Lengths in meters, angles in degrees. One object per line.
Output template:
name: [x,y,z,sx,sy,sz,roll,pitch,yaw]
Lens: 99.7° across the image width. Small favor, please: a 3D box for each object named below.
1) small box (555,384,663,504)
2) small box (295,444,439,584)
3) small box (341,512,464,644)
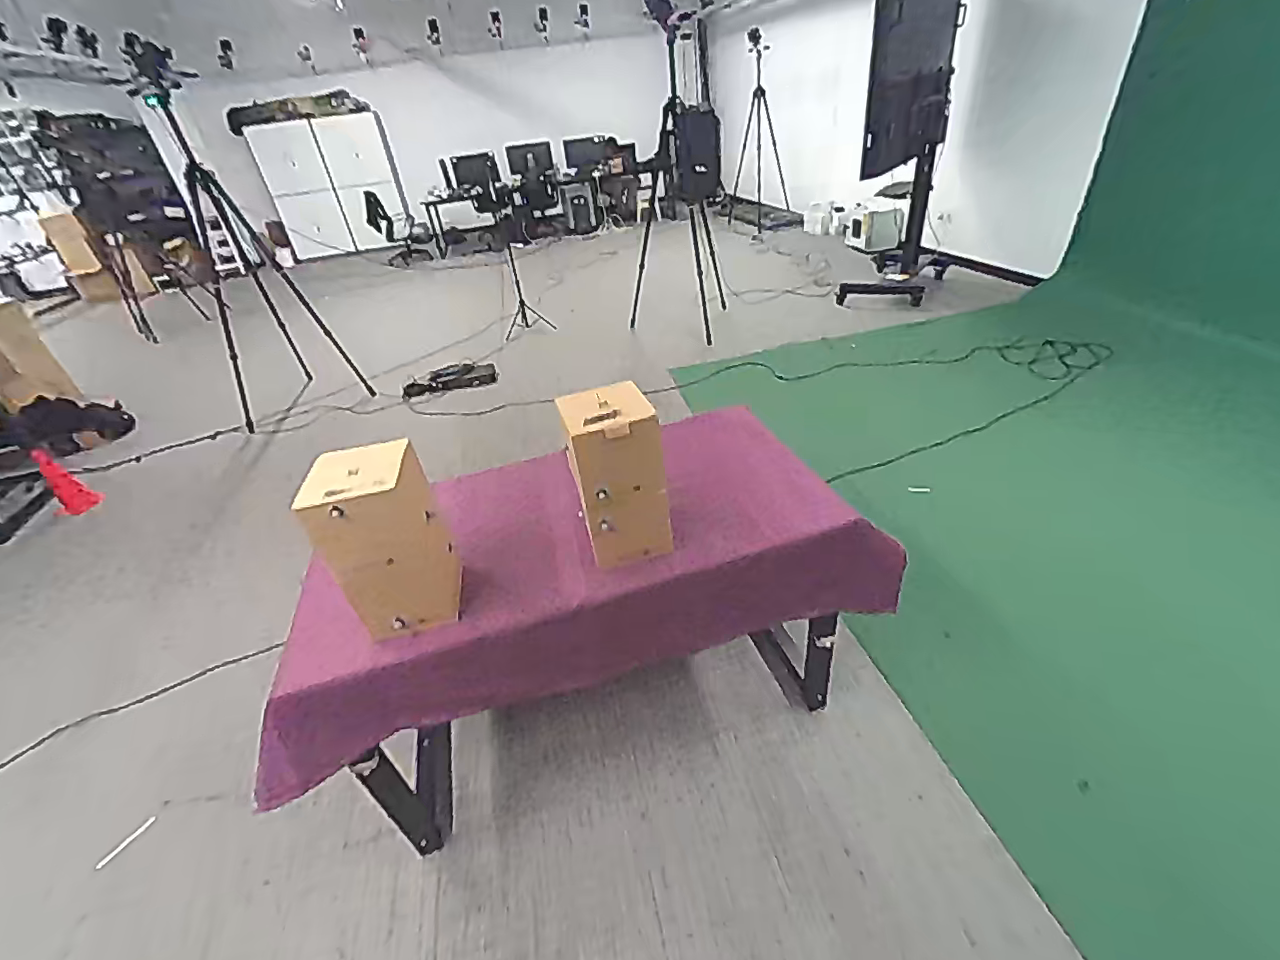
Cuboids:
small box: [-0.060,-0.068,1.081,0.168,0.176,0.179,-16,33,-11]
small box: [-0.482,0.059,0.989,0.168,0.176,0.179,-14,34,-5]
small box: [-0.461,0.194,1.083,0.168,0.176,0.179,-13,35,-5]
